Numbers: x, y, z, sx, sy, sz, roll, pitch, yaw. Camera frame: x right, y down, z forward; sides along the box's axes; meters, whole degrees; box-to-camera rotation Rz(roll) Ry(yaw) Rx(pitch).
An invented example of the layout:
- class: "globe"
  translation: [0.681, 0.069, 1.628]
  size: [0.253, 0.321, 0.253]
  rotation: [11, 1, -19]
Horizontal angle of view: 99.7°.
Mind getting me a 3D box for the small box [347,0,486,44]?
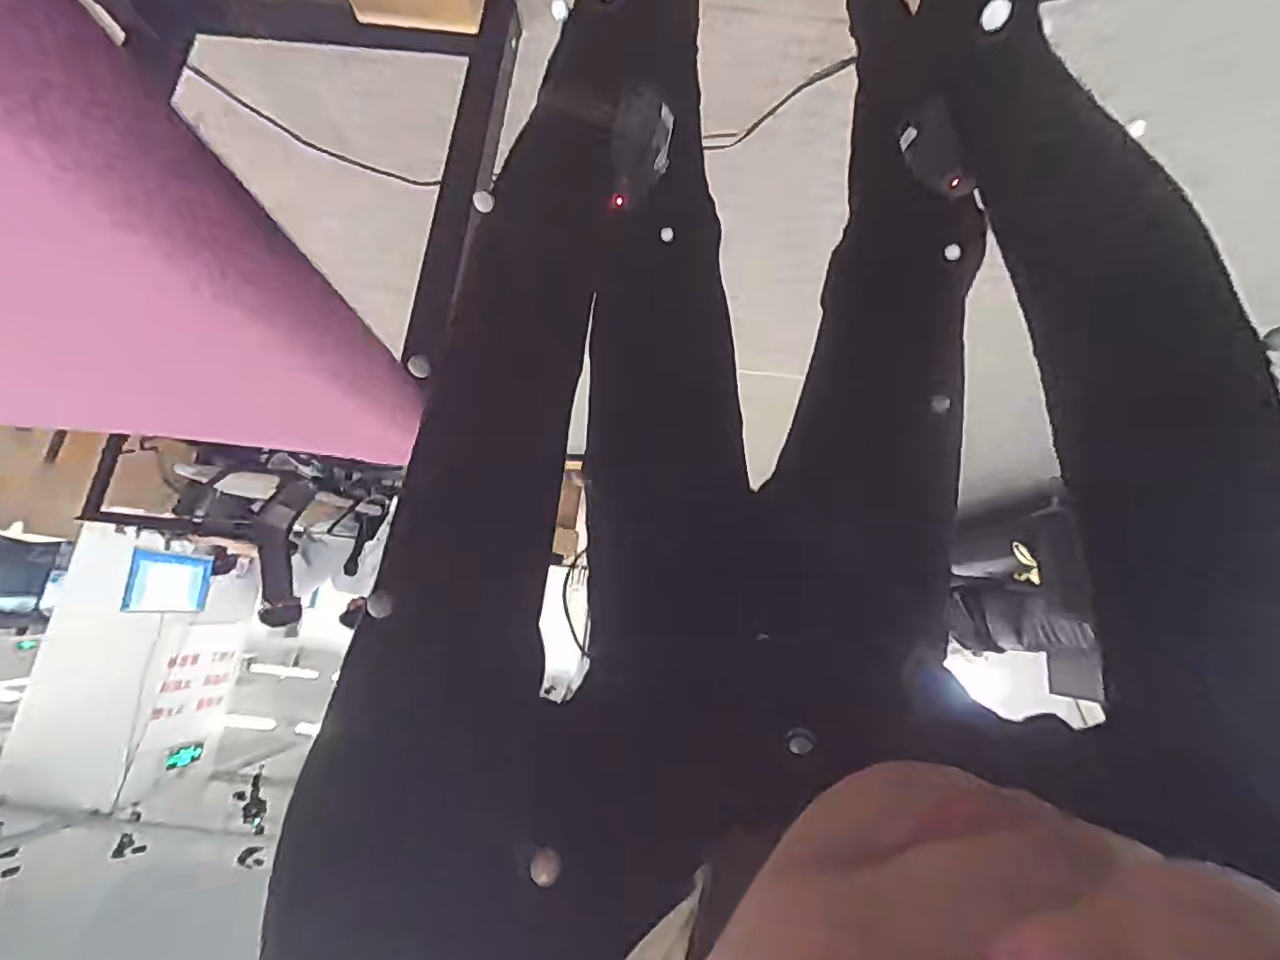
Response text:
- class: "small box"
  translation: [-0.285, -0.696, 0.667]
  size: [0.168, 0.176, 0.179]
  rotation: [7, 166, 2]
